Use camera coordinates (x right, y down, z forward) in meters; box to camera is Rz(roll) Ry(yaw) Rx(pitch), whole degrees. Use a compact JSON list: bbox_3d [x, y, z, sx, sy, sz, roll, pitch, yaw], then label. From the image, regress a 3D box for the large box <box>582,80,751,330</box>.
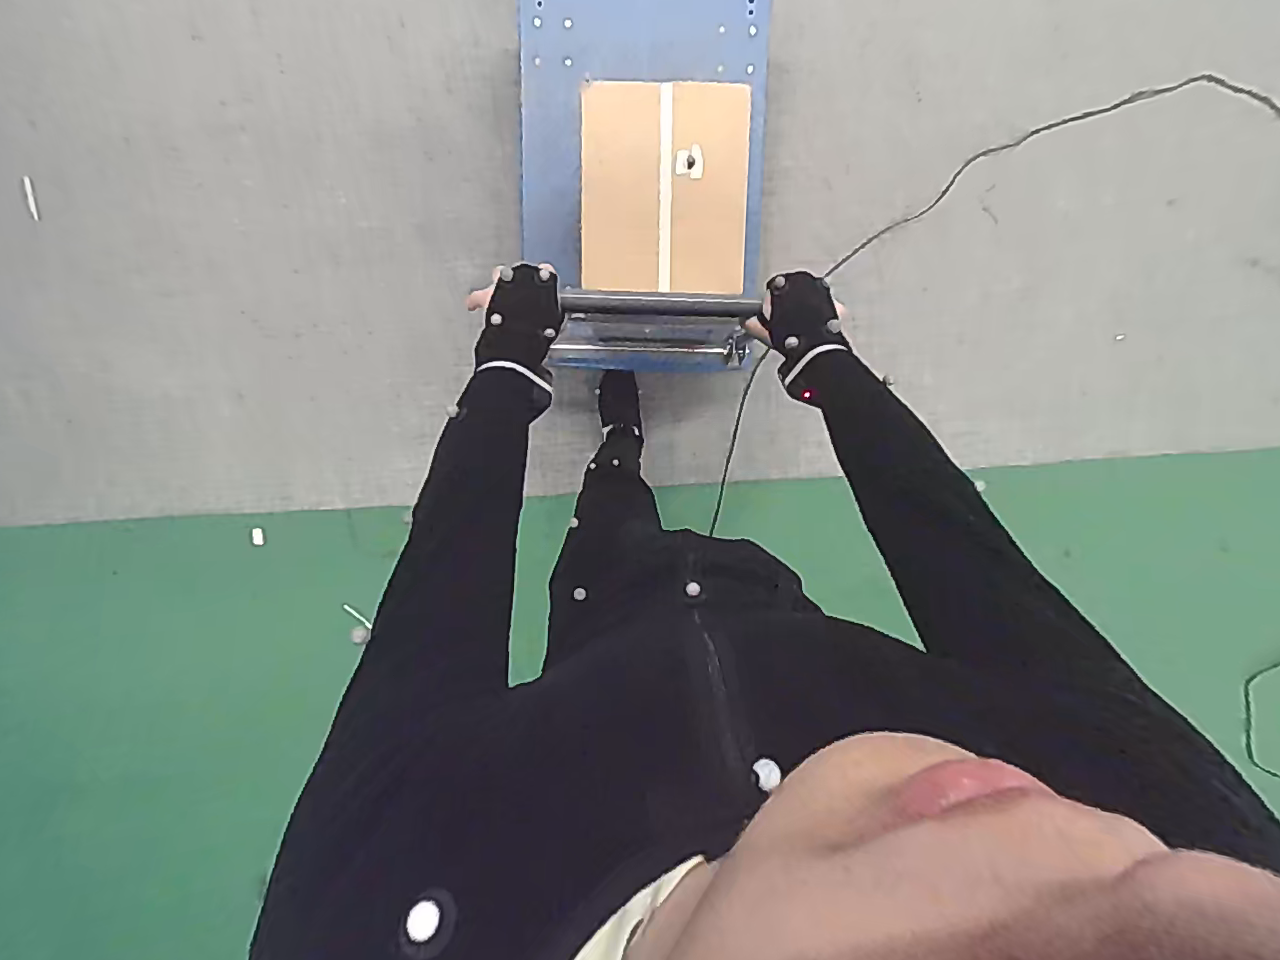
[{"bbox_3d":[0.047,-0.544,1.152,0.320,0.320,0.408,0,98,-2],"label":"large box"}]
